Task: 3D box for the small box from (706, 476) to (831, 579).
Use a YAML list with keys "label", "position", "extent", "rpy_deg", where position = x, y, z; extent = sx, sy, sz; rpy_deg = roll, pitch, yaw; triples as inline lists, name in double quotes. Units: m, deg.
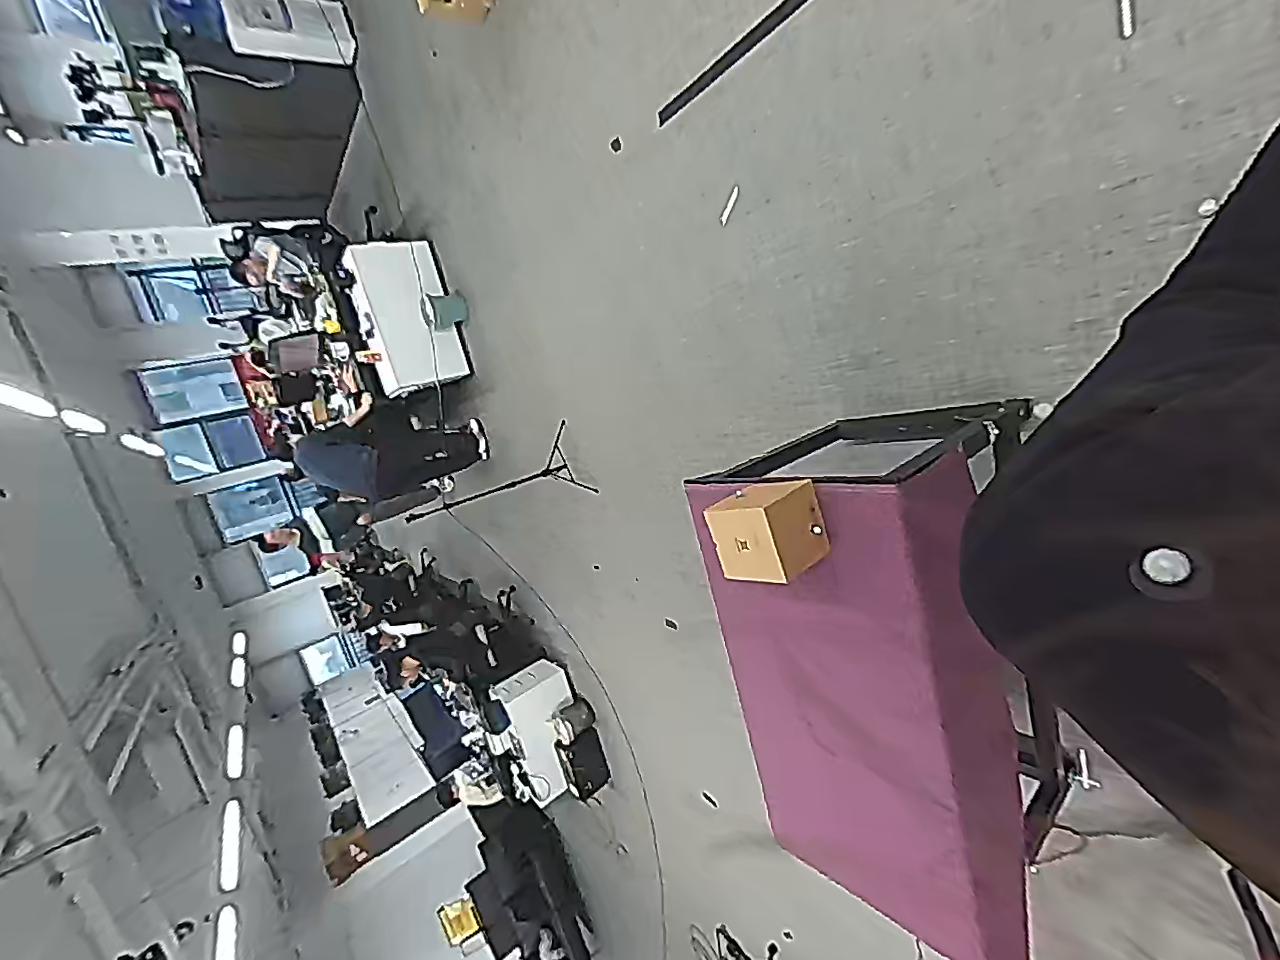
- label: "small box"
  position: [0.280, 0.099, 1.179]
  extent: [0.179, 0.176, 0.168]
  rpy_deg: [-7, 105, 56]
